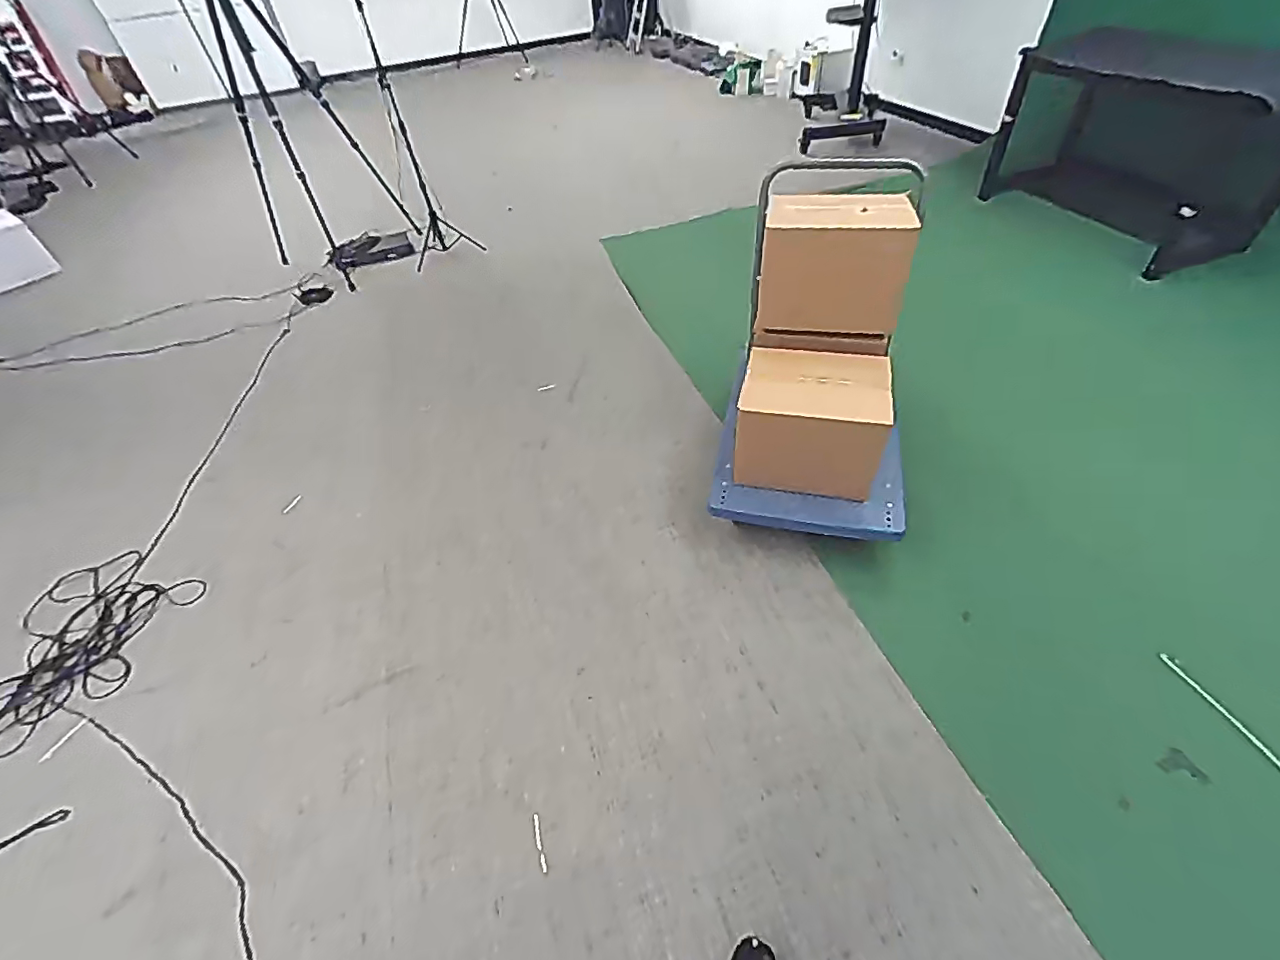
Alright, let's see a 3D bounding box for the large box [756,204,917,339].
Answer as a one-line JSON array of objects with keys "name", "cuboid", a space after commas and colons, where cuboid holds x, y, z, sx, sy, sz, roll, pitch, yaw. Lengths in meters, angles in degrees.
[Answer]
[{"name": "large box", "cuboid": [0.579, -0.649, 1.671, 0.408, 0.320, 0.320, 7, 43, 11]}]
